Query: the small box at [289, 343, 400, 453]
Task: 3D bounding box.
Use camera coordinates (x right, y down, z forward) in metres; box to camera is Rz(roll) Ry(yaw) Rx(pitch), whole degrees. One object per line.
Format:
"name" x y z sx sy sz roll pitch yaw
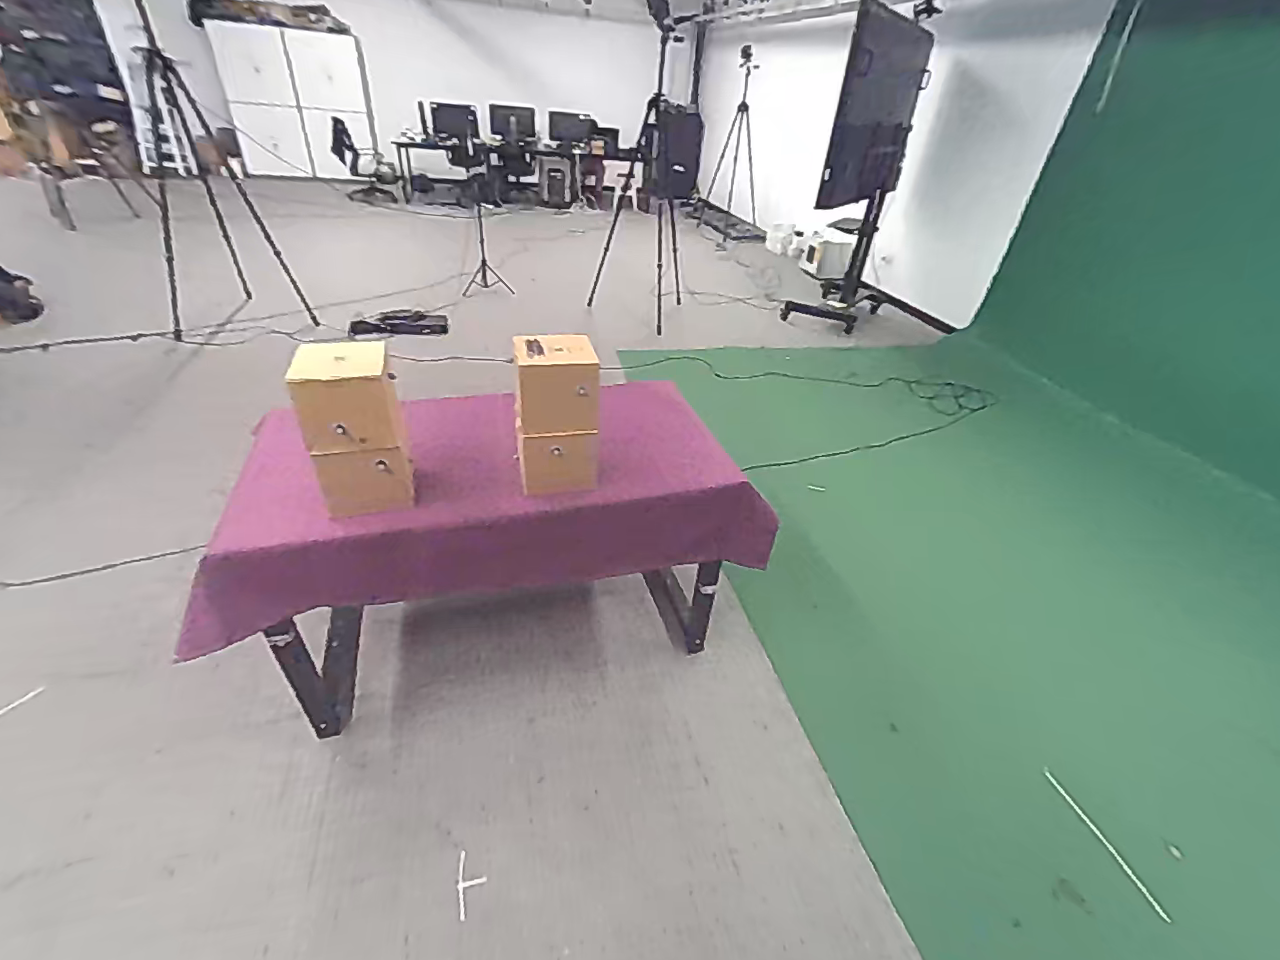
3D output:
"small box" -0.605 -0.174 1.131 0.168 0.176 0.179 -7 38 -17

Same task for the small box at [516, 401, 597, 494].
"small box" -0.207 -0.080 1.334 0.179 0.176 0.168 -5 37 -15

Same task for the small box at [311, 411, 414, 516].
"small box" -0.614 -0.038 1.222 0.179 0.176 0.168 -7 37 -17
